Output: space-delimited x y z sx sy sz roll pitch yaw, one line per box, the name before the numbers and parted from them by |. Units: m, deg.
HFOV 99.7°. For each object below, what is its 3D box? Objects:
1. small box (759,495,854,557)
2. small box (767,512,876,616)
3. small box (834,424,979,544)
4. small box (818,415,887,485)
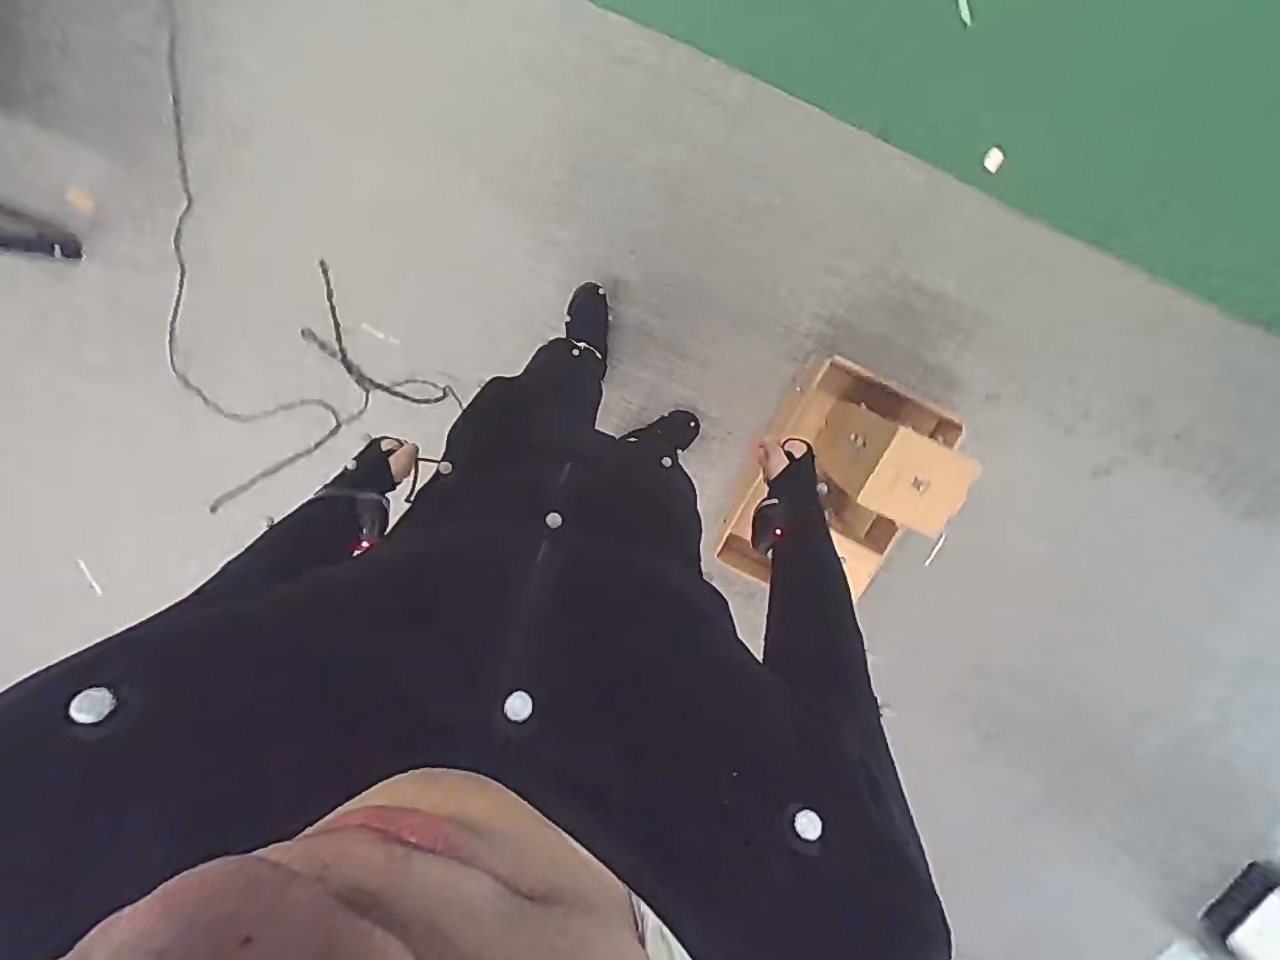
small box | 0.446 0.157 1.485 0.179 0.176 0.168 28 103 -2
small box | 0.433 0.196 1.325 0.179 0.176 0.168 29 103 -2
small box | 0.528 -0.001 1.099 0.179 0.176 0.168 27 105 0
small box | 0.545 -0.041 1.257 0.179 0.176 0.168 27 104 -2
